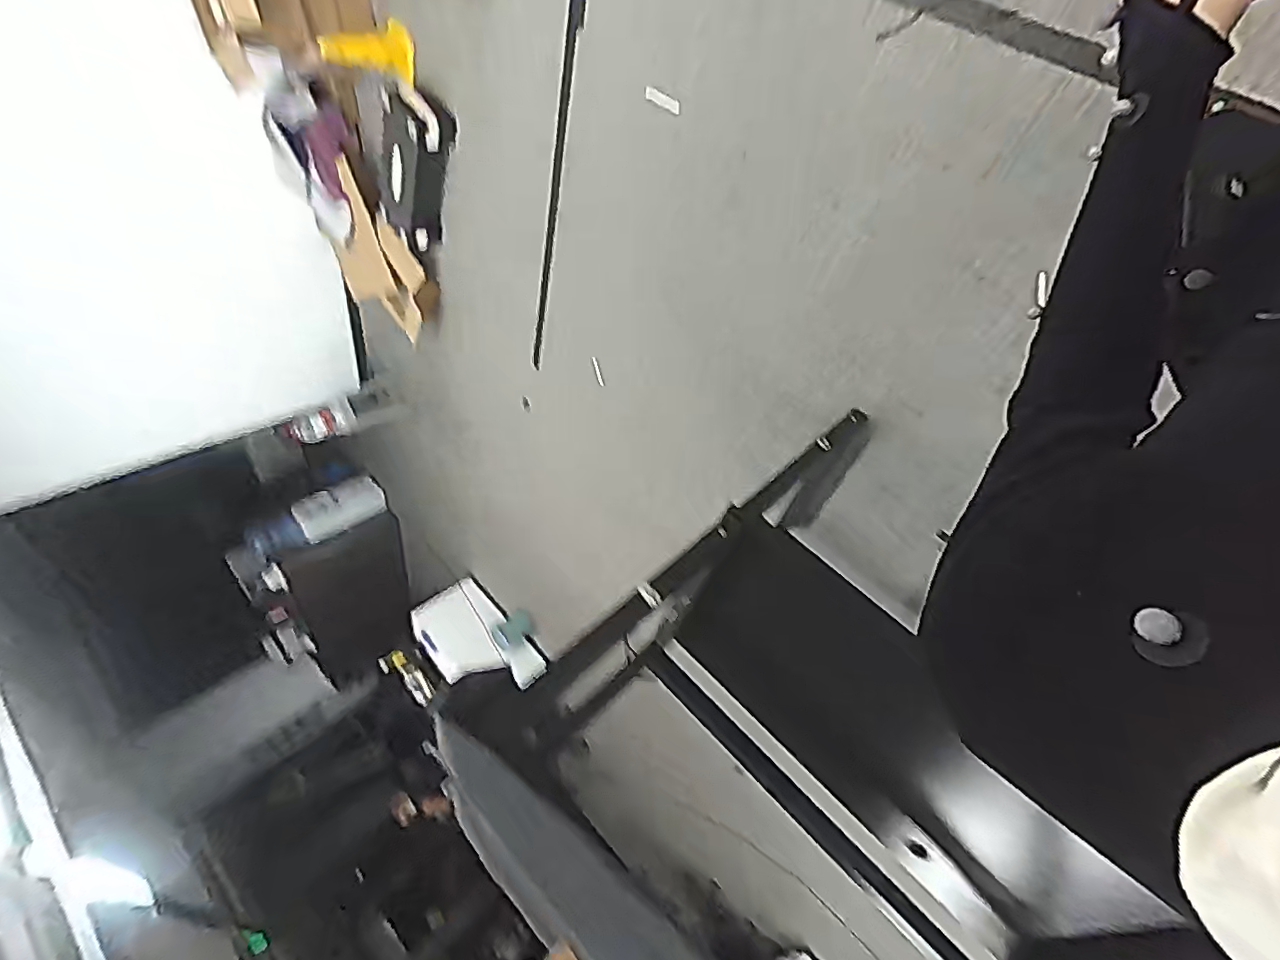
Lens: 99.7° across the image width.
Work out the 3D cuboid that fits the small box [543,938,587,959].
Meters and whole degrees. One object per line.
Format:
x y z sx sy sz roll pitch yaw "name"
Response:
-0.139 0.970 0.960 0.179 0.176 0.168 41 139 21 "small box"
